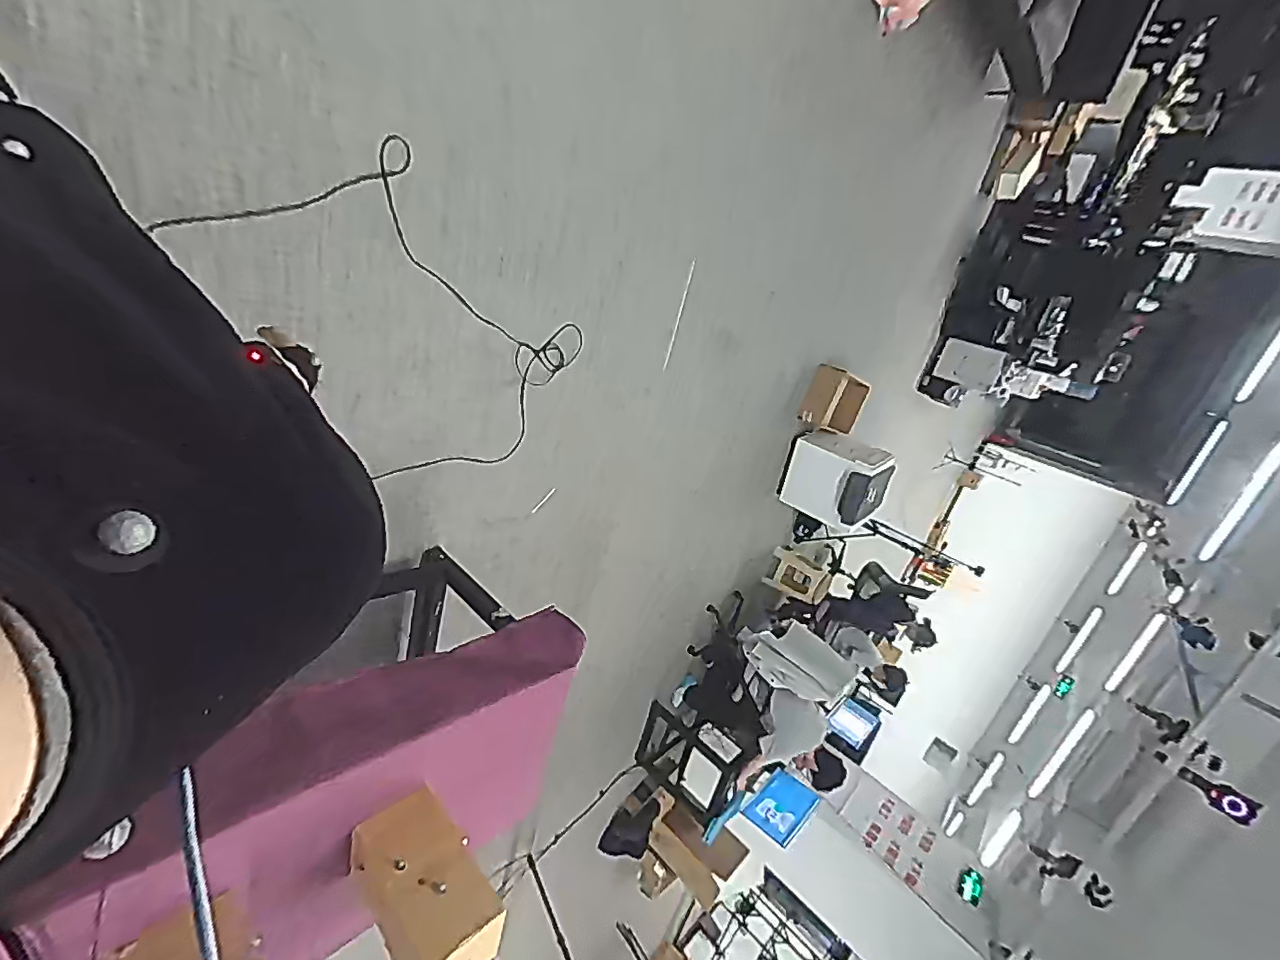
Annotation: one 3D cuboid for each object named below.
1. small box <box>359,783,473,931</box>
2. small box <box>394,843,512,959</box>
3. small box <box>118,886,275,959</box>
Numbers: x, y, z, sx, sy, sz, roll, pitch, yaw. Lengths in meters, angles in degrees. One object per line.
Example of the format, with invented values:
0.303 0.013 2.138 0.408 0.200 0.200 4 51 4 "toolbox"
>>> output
-0.501 0.827 1.207 0.179 0.176 0.168 -12 124 -46 "small box"
-0.390 0.907 1.113 0.168 0.176 0.179 -12 125 -46 "small box"
-0.748 0.851 0.914 0.179 0.176 0.168 -7 120 -49 "small box"
